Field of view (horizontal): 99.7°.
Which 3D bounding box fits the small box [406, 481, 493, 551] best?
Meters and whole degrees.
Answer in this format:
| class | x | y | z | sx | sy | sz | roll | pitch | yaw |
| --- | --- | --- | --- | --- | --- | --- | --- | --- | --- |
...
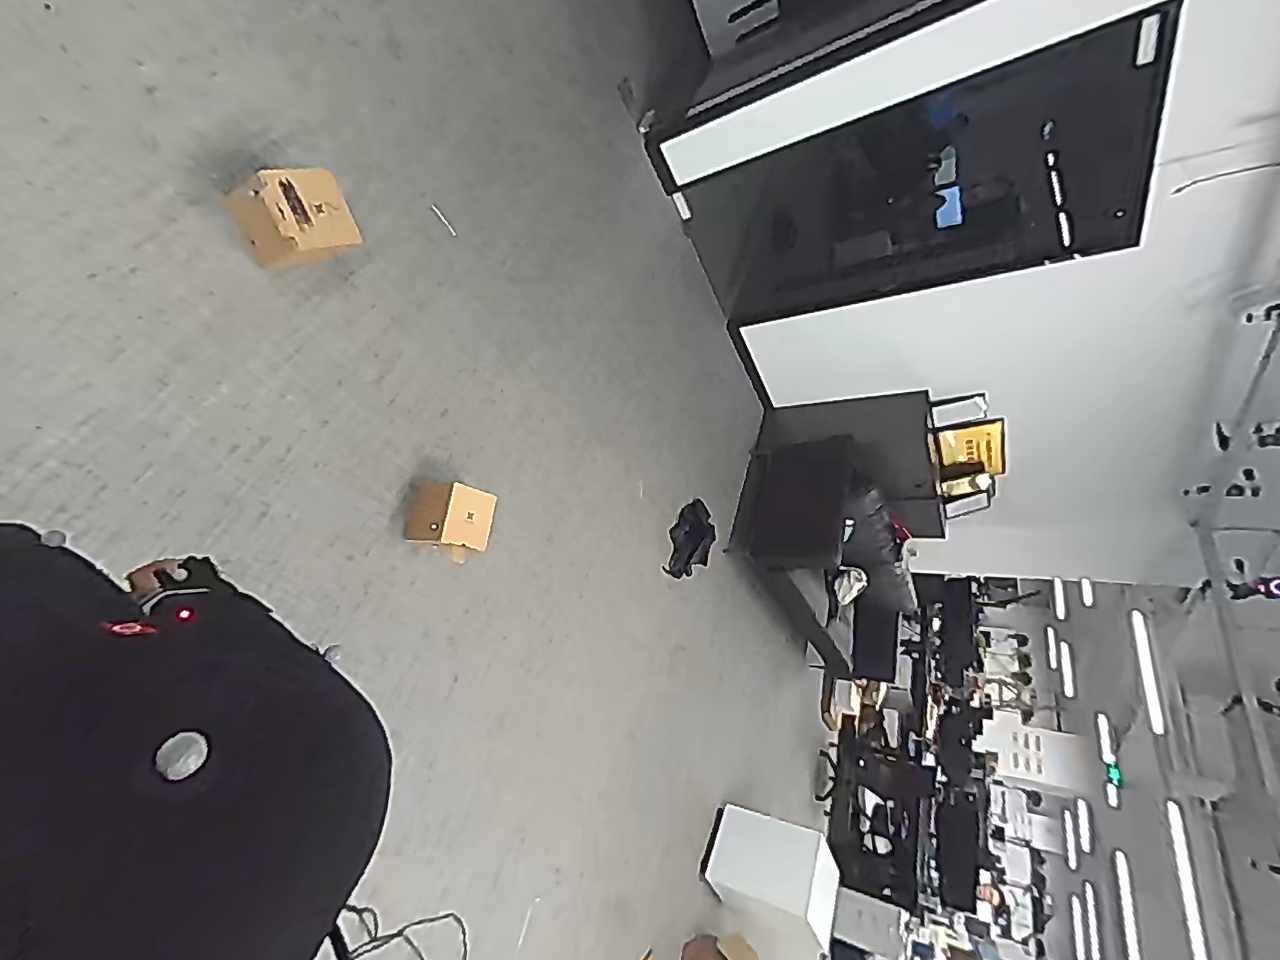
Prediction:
| class | x | y | z | sx | sy | sz | roll | pitch | yaw |
| --- | --- | --- | --- | --- | --- | --- | --- | --- | --- |
| small box | -0.571 | 0.110 | 1.618 | 0.168 | 0.176 | 0.179 | 28 | 66 | -53 |
